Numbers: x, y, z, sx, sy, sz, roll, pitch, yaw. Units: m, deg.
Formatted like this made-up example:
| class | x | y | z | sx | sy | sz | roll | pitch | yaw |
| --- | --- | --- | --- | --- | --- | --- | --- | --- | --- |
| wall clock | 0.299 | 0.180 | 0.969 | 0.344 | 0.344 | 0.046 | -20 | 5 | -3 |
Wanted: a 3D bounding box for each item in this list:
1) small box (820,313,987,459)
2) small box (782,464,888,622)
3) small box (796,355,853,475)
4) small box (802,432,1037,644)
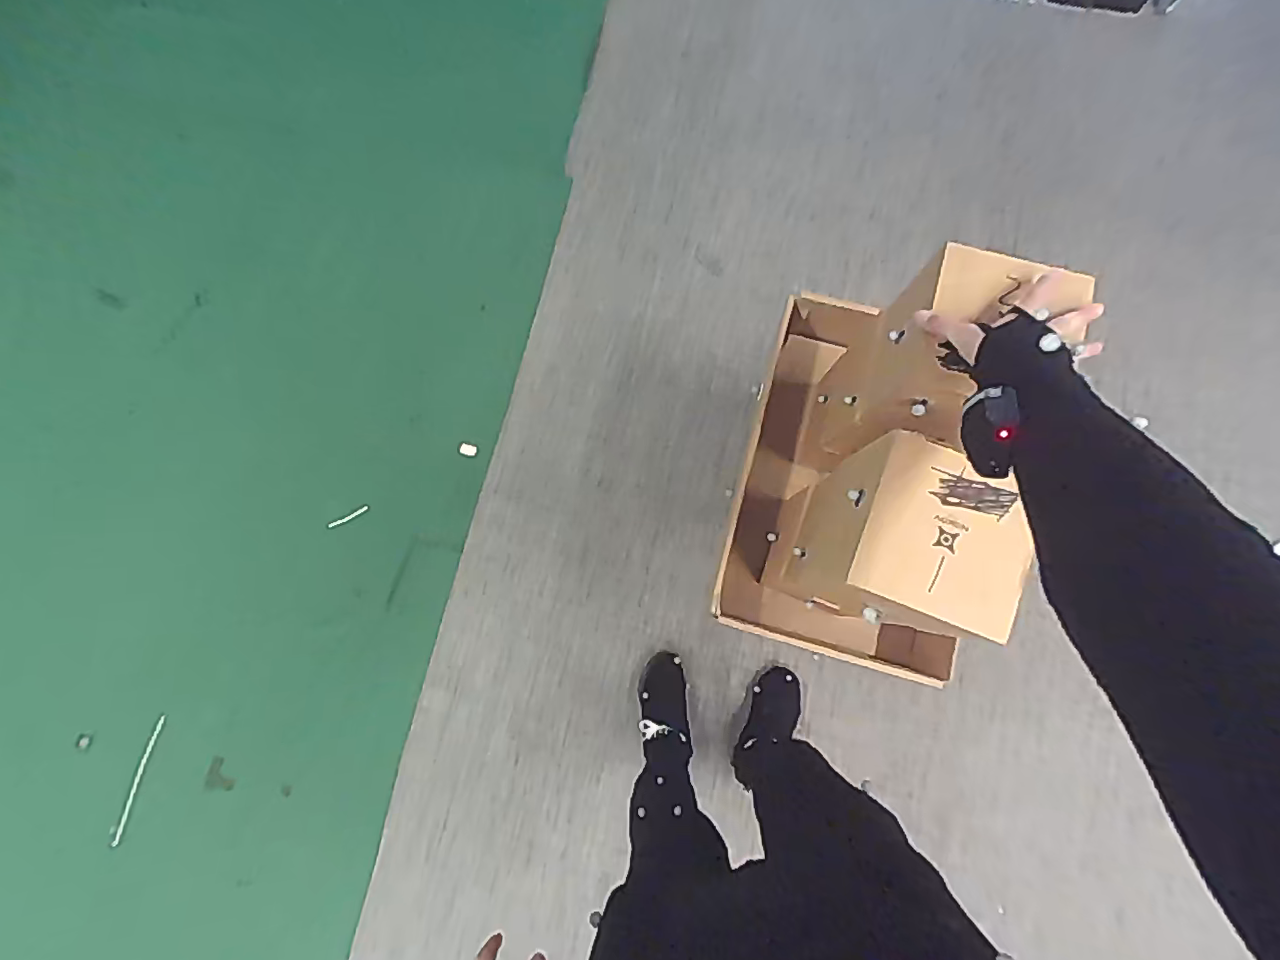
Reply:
| class | x | y | z | sx | sy | sz | roll | pitch | yaw |
| --- | --- | --- | --- | --- | --- | --- | --- | --- | --- |
| small box | 0.397 | -0.126 | 0.841 | 0.168 | 0.176 | 0.179 | 15 | 82 | 4 |
| small box | 0.323 | 0.101 | 0.795 | 0.168 | 0.176 | 0.179 | 21 | 79 | 5 |
| small box | 0.403 | -0.102 | 1.001 | 0.168 | 0.176 | 0.179 | 15 | 82 | 5 |
| small box | 0.310 | 0.070 | 0.635 | 0.168 | 0.176 | 0.179 | 22 | 81 | 5 |
